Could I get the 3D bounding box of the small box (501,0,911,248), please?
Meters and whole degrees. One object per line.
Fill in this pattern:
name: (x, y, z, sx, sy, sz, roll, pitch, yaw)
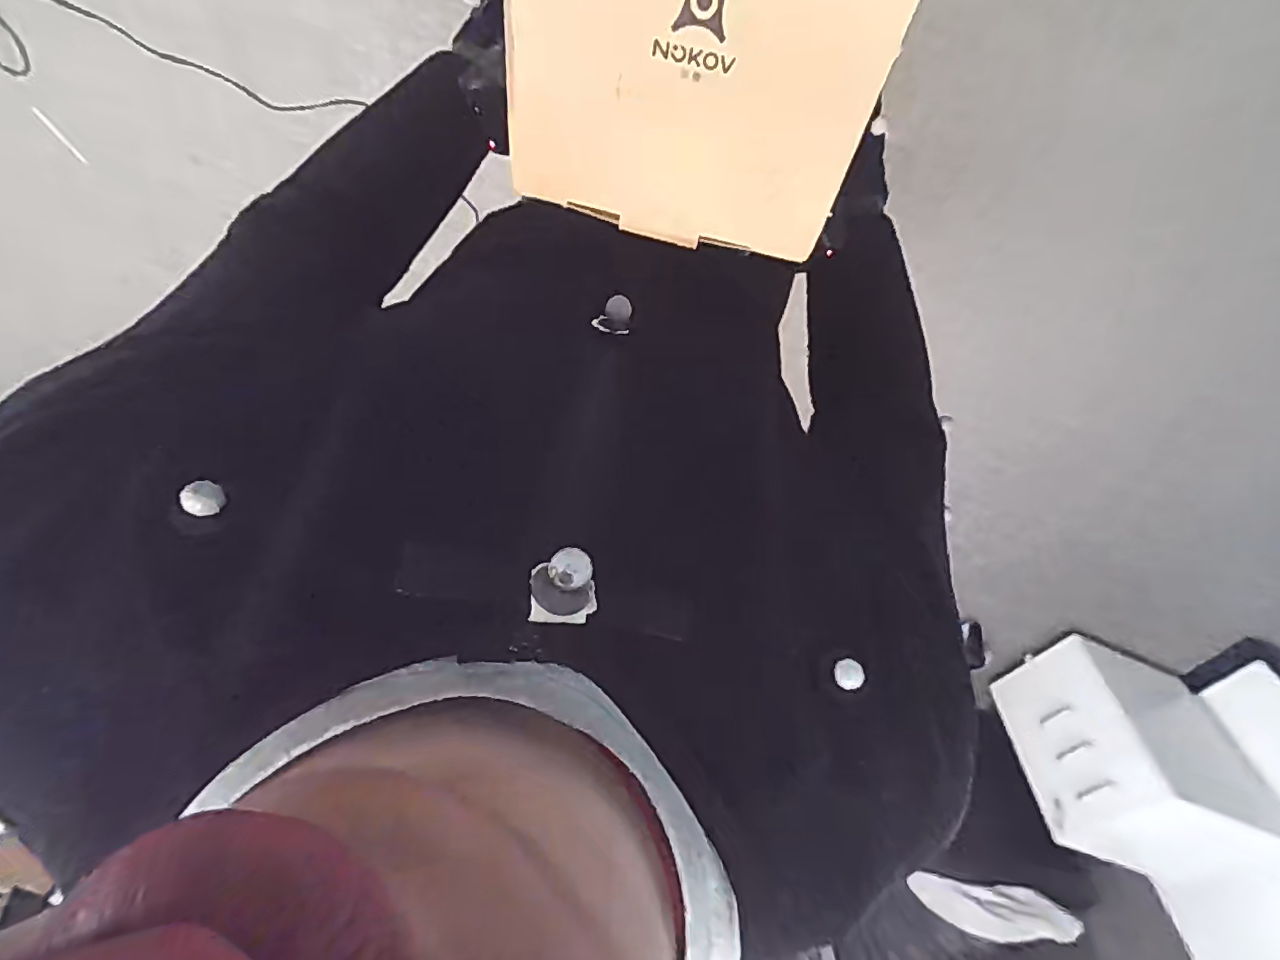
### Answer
small box: (0.037, -0.255, 0.267, 0.168, 0.176, 0.179, 13, 143, -1)
